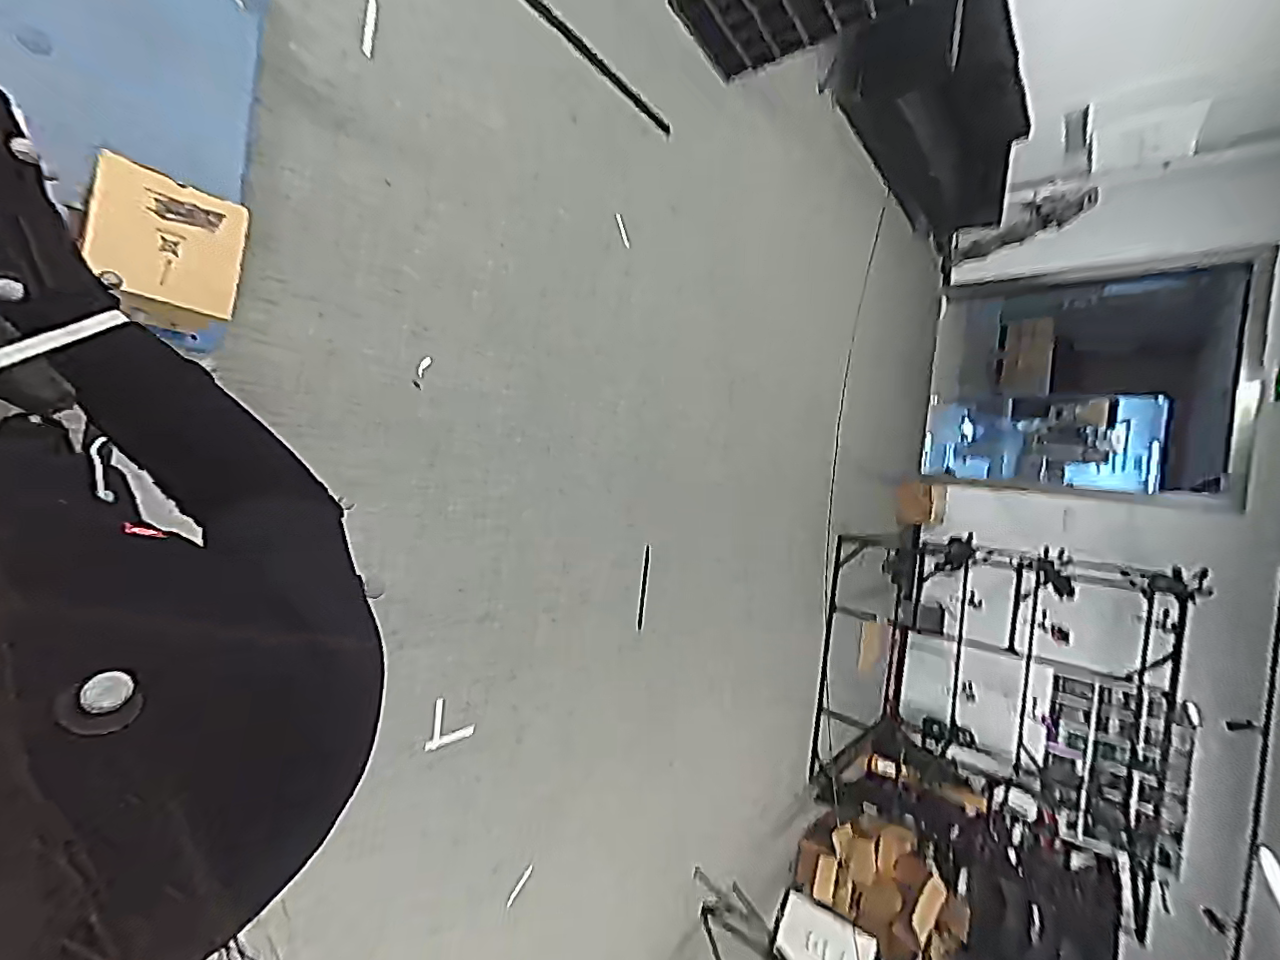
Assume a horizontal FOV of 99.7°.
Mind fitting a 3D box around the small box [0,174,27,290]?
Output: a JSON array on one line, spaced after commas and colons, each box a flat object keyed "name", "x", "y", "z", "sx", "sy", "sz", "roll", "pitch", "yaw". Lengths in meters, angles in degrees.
[{"name": "small box", "x": -0.992, "y": -0.381, "z": 0.756, "sx": 0.168, "sy": 0.176, "sz": 0.179, "roll": 5, "pitch": 90, "yaw": -51}]

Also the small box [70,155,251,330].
[{"name": "small box", "x": -0.727, "y": -0.342, "z": 0.820, "sx": 0.168, "sy": 0.176, "sz": 0.179, "roll": 11, "pitch": 86, "yaw": -51}]

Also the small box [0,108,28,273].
[{"name": "small box", "x": -0.866, "y": -0.366, "z": 0.650, "sx": 0.168, "sy": 0.176, "sz": 0.179, "roll": 3, "pitch": 94, "yaw": -51}]
